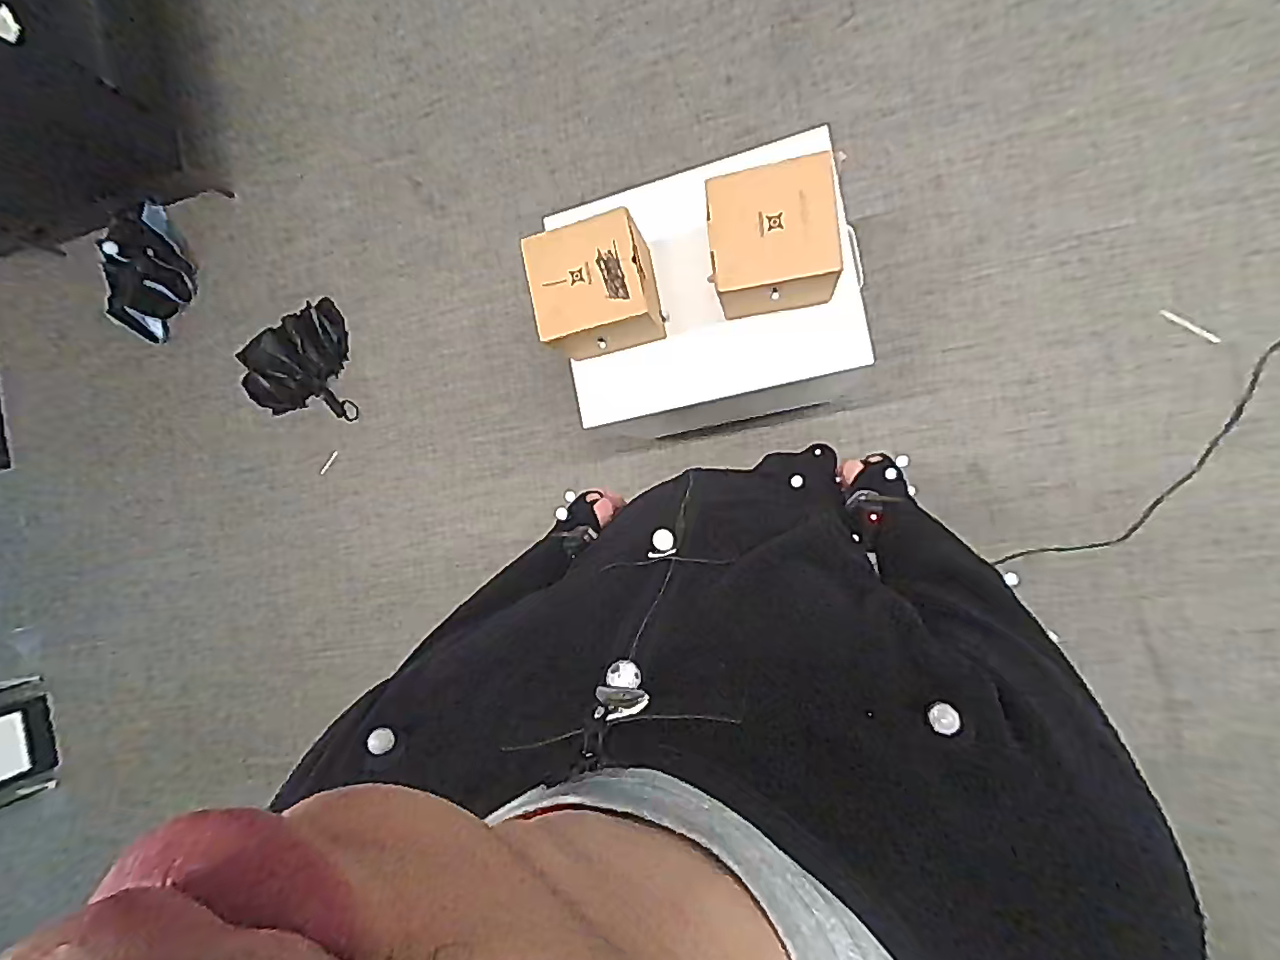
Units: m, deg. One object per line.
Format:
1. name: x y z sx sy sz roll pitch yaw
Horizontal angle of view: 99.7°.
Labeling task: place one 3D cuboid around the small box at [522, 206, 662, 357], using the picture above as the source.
1. small box: -0.067 -0.314 0.893 0.179 0.176 0.168 -11 89 14

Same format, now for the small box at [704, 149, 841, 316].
1. small box: 0.202 -0.362 0.829 0.179 0.176 0.168 -6 92 13
